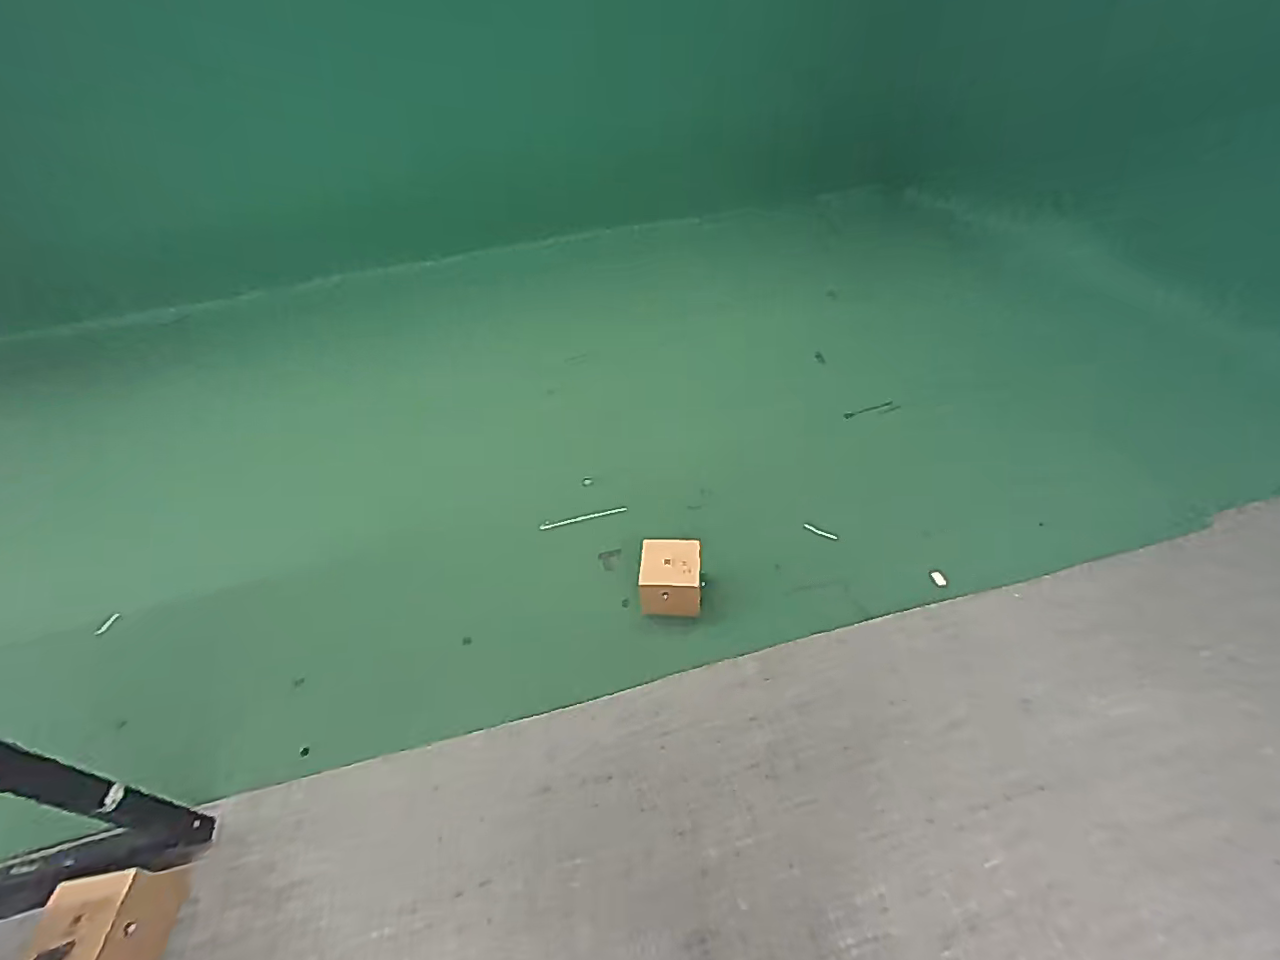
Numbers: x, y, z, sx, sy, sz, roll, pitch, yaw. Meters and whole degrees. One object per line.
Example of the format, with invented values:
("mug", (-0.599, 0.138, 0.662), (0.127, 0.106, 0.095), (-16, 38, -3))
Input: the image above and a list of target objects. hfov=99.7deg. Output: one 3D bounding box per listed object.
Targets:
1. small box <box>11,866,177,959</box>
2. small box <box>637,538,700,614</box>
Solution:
("small box", (-1.142, 0.947, 1.142), (0.168, 0.176, 0.179), (-9, 45, -3))
("small box", (0.091, 0.294, 1.644), (0.179, 0.176, 0.168), (1, 47, 6))
